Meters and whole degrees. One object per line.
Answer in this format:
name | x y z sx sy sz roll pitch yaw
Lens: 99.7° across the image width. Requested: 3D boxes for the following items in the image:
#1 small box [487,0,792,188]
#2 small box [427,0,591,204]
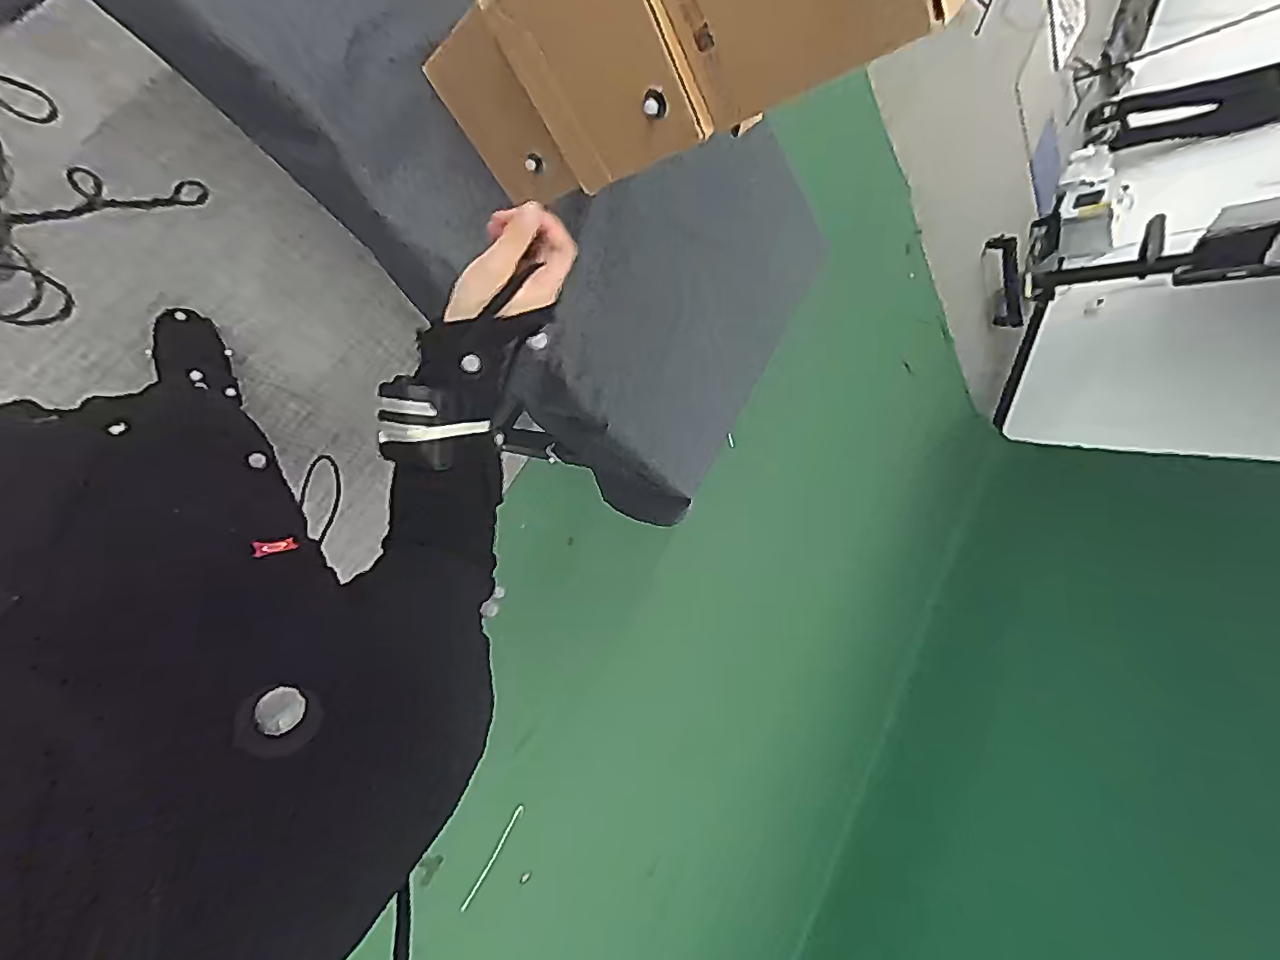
small box | 0.000 -0.399 0.479 0.168 0.176 0.179 -53 128 -23
small box | -0.097 -0.438 0.605 0.168 0.176 0.179 -54 127 -22
